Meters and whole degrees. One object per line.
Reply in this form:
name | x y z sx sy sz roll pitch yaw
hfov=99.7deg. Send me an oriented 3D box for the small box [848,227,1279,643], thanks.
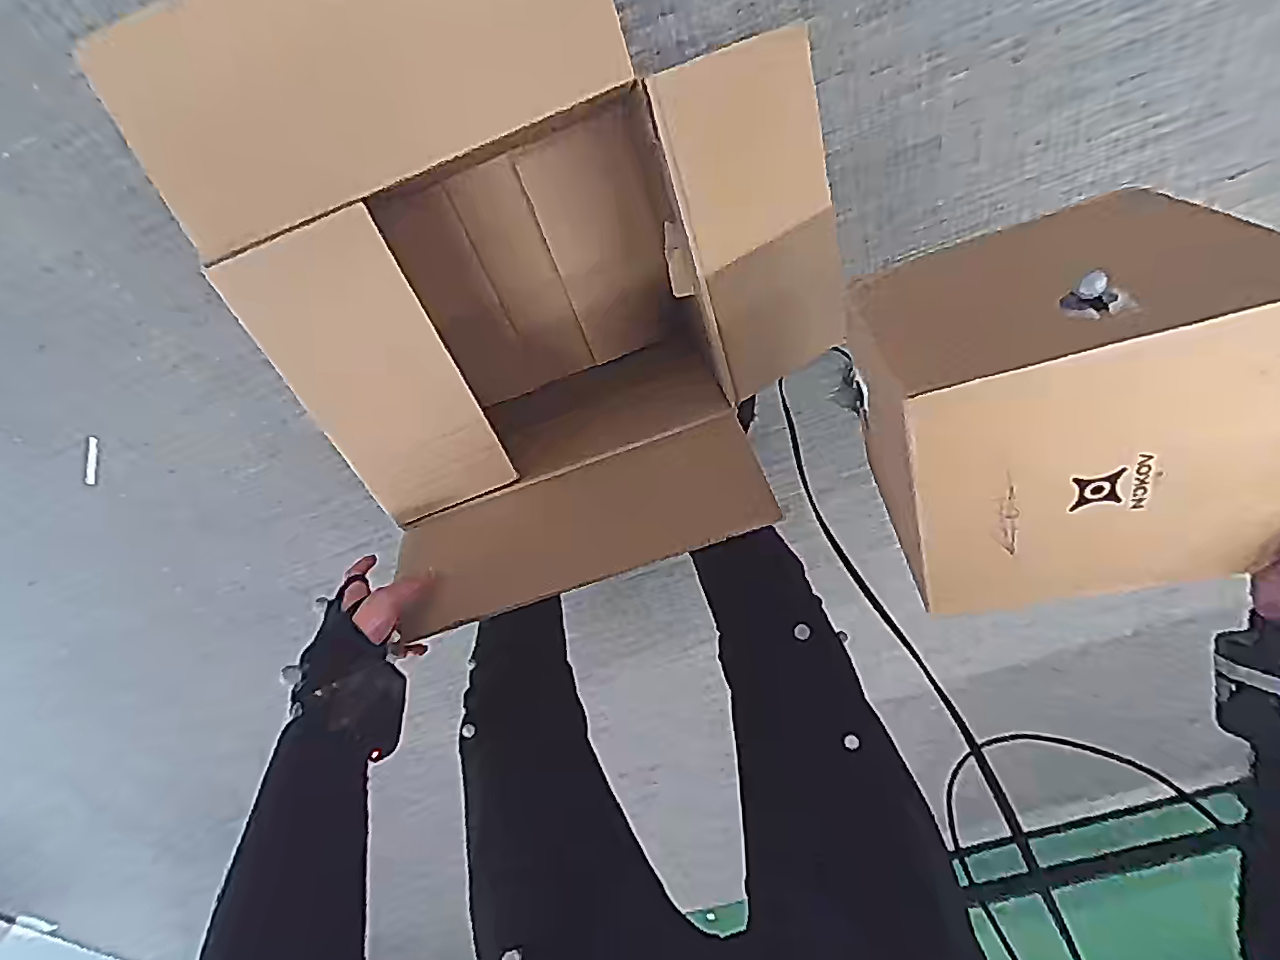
small box | 0.239 -0.031 0.323 0.179 0.176 0.168 -12 123 16
